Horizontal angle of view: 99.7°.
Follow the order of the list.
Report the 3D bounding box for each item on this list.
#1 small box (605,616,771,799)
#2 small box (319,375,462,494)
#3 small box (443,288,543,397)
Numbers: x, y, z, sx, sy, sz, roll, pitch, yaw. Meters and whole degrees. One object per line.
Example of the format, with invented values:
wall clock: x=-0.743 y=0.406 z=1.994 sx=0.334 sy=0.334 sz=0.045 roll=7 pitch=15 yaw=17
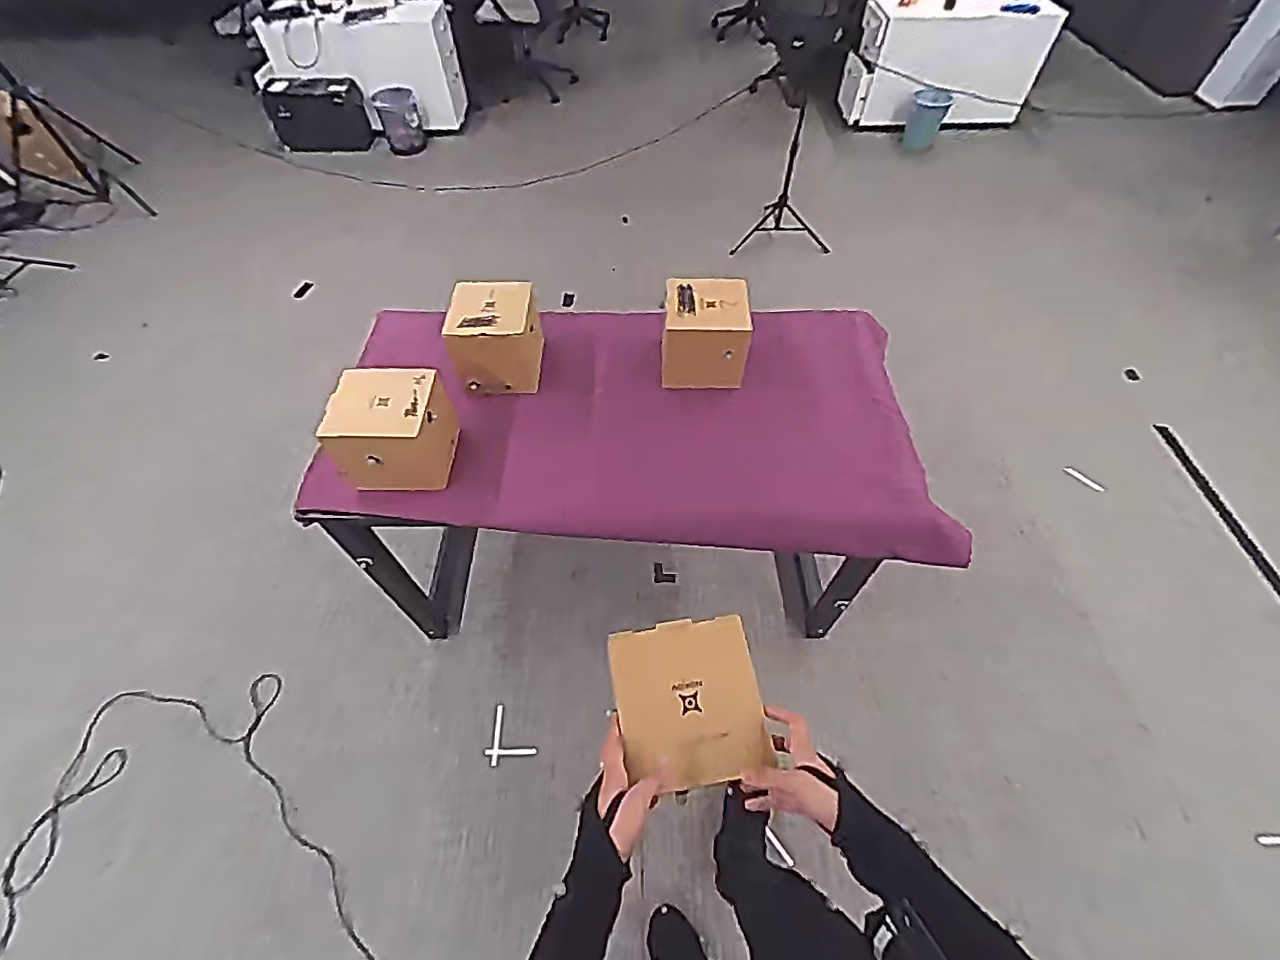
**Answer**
small box: x=0.045 y=0.290 z=0.684 sx=0.168 sy=0.176 sz=0.179 roll=-8 pitch=62 yaw=-6
small box: x=-0.465 y=-0.083 z=1.037 sx=0.179 sy=0.176 sz=0.168 roll=0 pitch=55 yaw=1
small box: x=-0.313 y=-0.298 z=1.191 sx=0.168 sy=0.176 sz=0.179 roll=-1 pitch=54 yaw=0
